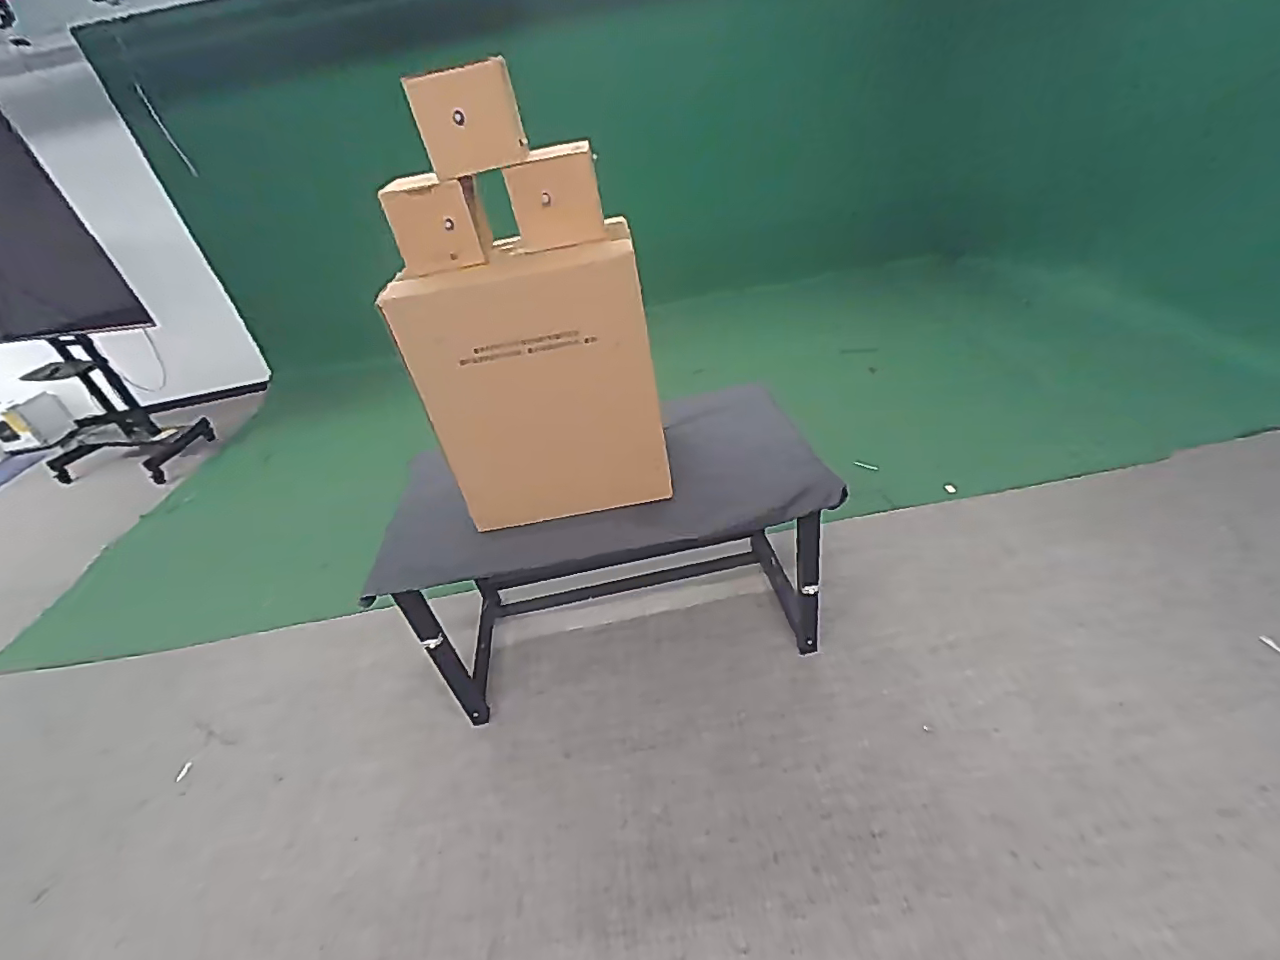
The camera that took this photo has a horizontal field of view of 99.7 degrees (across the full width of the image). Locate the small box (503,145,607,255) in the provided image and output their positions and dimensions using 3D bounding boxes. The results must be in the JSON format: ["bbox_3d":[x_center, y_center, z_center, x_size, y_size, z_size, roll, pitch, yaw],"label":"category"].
[{"bbox_3d":[-0.176,-0.604,1.172,0.179,0.176,0.168,-10,38,3],"label":"small box"}]

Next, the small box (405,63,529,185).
[{"bbox_3d":[-0.331,-0.707,1.076,0.179,0.176,0.168,-12,37,2],"label":"small box"}]

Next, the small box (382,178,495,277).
[{"bbox_3d":[-0.428,-0.555,1.180,0.168,0.176,0.179,-10,36,0],"label":"small box"}]
